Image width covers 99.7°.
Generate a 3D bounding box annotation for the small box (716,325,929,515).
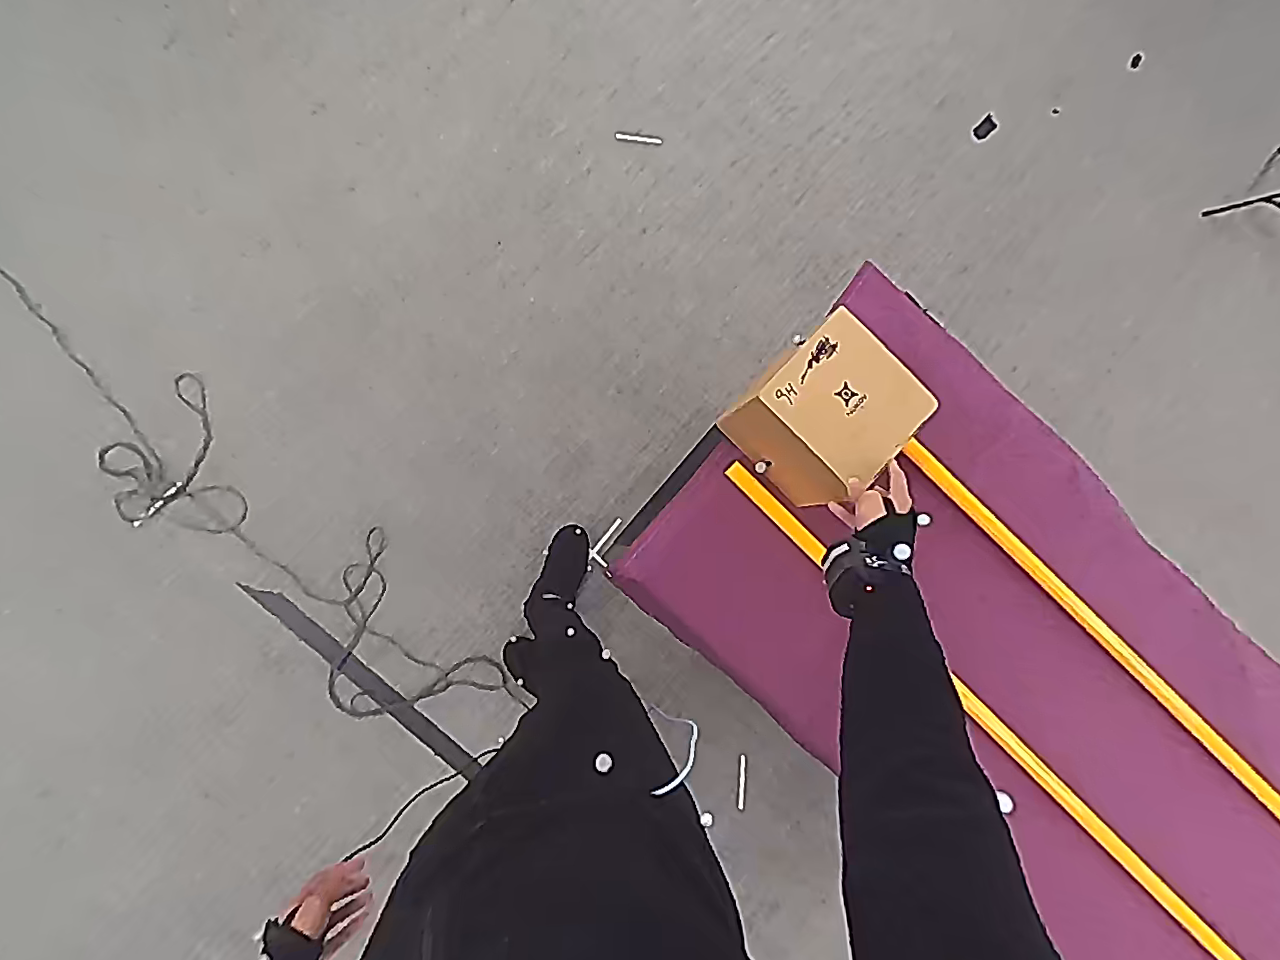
[{"bbox_3d":[0.233,-0.069,0.732,0.179,0.176,0.168,45,79,-3],"label":"small box"}]
